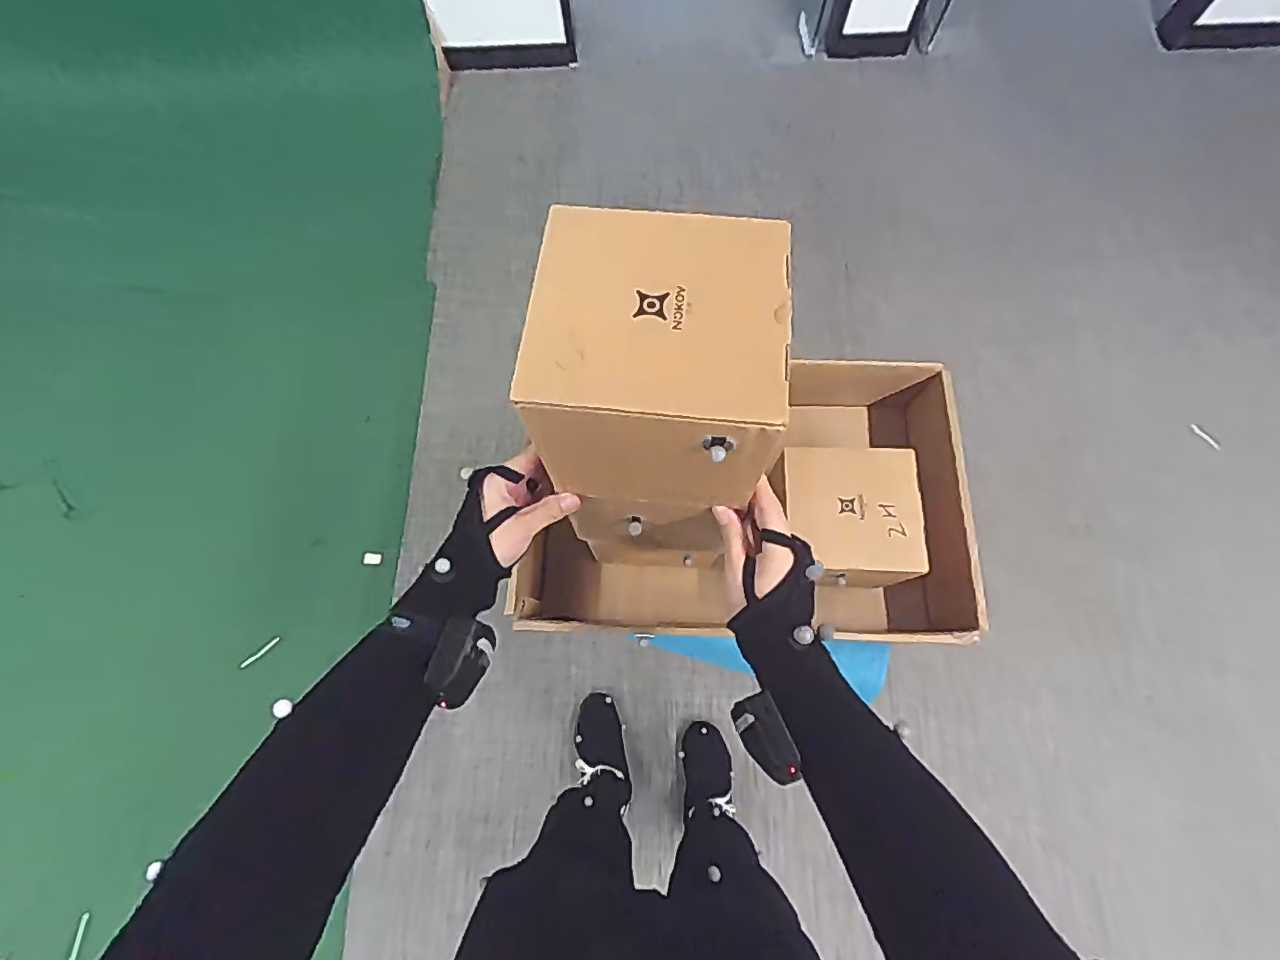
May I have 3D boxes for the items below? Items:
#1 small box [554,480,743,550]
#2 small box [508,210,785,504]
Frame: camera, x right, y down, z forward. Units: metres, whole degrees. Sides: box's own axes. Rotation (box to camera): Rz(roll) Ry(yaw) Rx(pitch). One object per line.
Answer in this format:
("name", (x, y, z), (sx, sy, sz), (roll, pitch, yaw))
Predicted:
("small box", (0.019, -0.027, 0.591), (0.179, 0.176, 0.168), (5, 69, 5))
("small box", (0.011, -0.087, 0.440), (0.179, 0.176, 0.168), (5, 69, 2))
